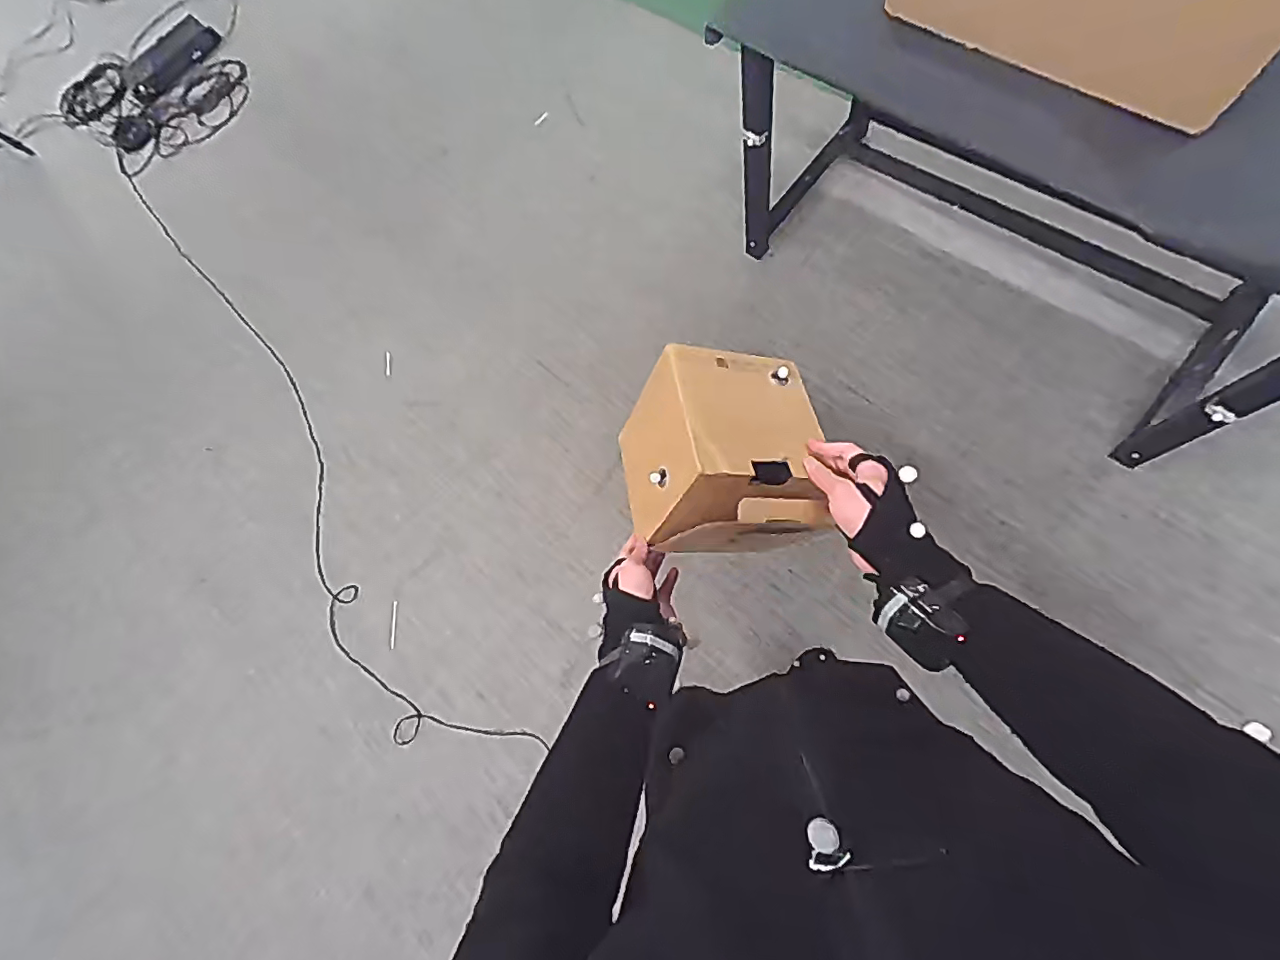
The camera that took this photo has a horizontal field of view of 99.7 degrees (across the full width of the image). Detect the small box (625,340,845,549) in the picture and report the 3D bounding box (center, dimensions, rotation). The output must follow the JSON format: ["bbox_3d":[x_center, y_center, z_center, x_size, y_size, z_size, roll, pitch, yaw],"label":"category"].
[{"bbox_3d":[0.091,-0.034,0.617,0.168,0.179,0.176,4,56,-21],"label":"small box"}]
